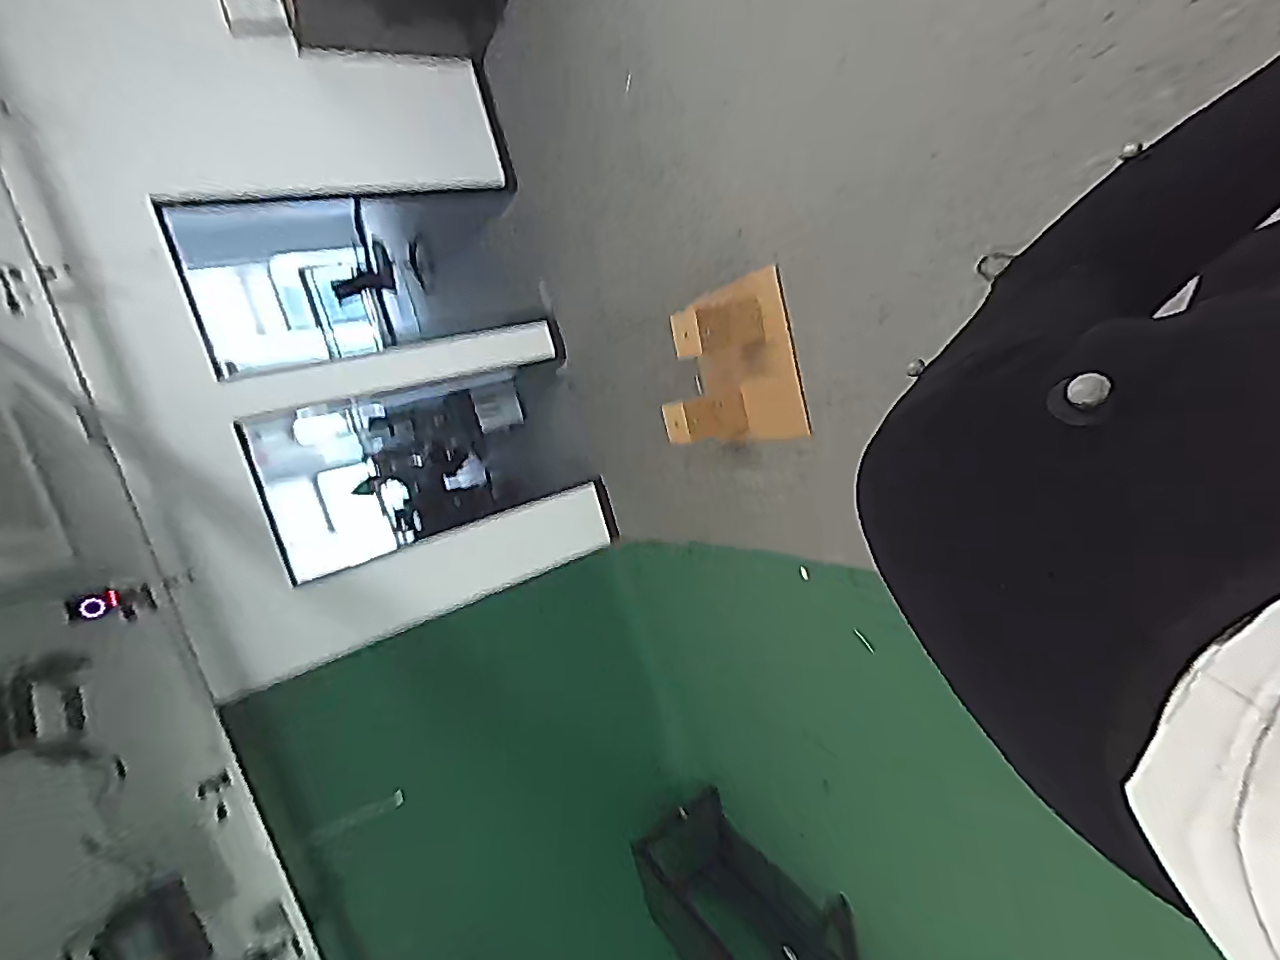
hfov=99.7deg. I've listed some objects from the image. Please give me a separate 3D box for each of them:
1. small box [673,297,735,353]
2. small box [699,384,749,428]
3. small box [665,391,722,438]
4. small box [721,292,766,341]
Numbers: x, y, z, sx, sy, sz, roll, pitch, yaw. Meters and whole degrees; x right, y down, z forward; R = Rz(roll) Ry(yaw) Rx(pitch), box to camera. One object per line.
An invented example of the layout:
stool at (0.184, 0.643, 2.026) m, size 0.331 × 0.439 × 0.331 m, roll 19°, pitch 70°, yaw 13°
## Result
small box at (0.258, -0.619, 2.158) m, size 0.168 × 0.176 × 0.179 m, roll 11°, pitch 117°, yaw 58°
small box at (0.374, -0.339, 2.478) m, size 0.168 × 0.176 × 0.179 m, roll 5°, pitch 112°, yaw 60°
small box at (0.238, -0.295, 2.402) m, size 0.168 × 0.176 × 0.179 m, roll 4°, pitch 112°, yaw 59°
small box at (0.396, -0.670, 2.231) m, size 0.168 × 0.176 × 0.179 m, roll 7°, pitch 114°, yaw 60°
